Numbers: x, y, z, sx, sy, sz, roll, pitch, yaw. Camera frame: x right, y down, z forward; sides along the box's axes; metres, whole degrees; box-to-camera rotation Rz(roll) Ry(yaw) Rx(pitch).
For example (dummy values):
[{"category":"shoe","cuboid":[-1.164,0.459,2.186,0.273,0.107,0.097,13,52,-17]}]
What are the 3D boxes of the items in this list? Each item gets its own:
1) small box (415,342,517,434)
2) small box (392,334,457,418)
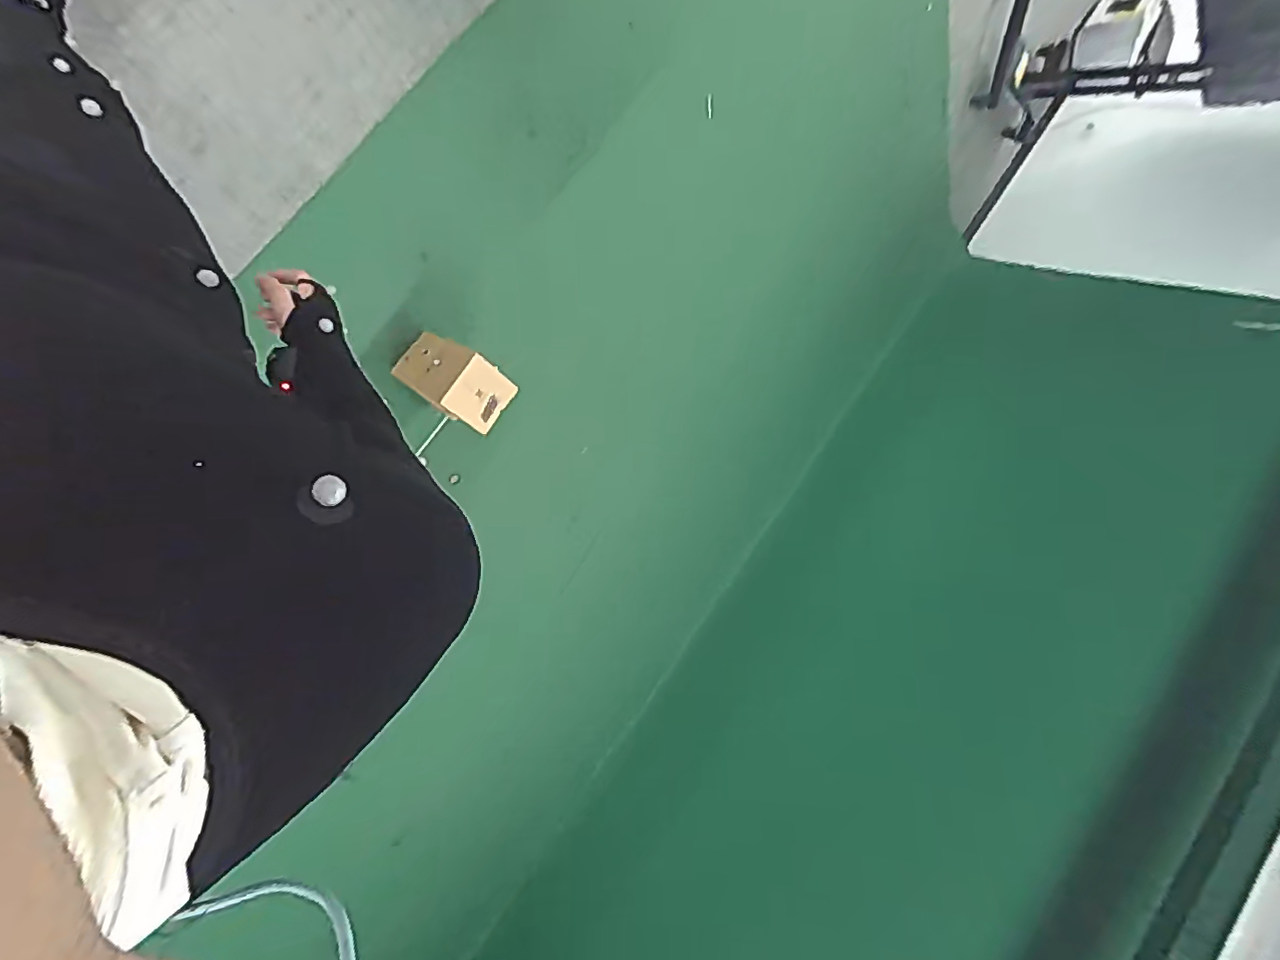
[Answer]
[{"category":"small box","cuboid":[-0.488,-0.262,1.512,0.168,0.176,0.179,-56,140,-6]},{"category":"small box","cuboid":[-0.602,-0.317,1.618,0.168,0.176,0.179,-54,142,-8]}]
